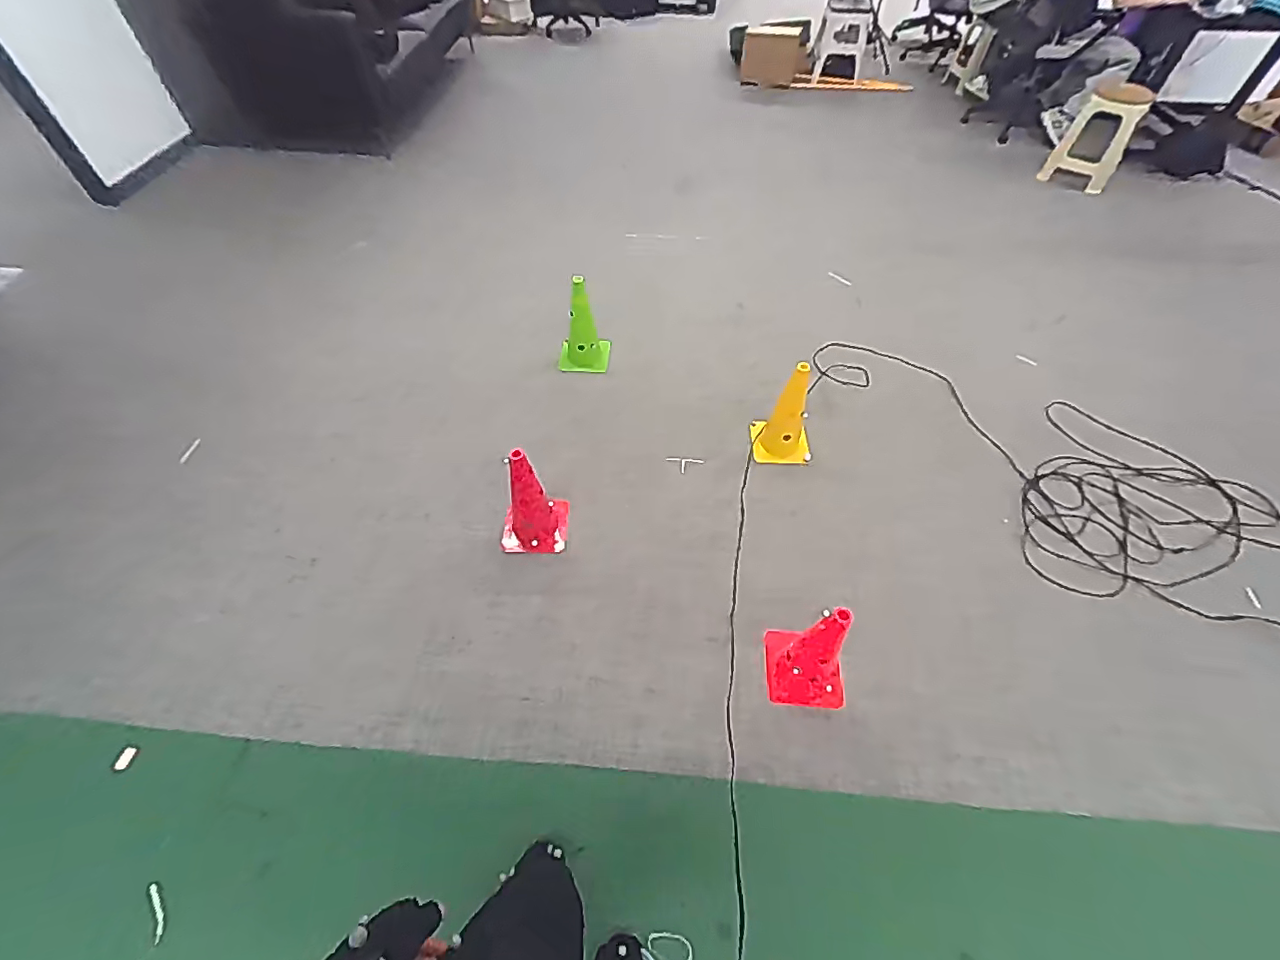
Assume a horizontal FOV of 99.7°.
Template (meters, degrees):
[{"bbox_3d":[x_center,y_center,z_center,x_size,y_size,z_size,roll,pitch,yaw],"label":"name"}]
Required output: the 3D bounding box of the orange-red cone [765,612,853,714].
[{"bbox_3d":[0.442,0.412,1.319,0.198,0.360,0.199,5,51,2],"label":"orange-red cone"}]

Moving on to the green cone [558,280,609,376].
[{"bbox_3d":[-0.228,-0.606,2.111,0.202,0.368,0.200,3,52,1],"label":"green cone"}]

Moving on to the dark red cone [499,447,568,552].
[{"bbox_3d":[-0.329,0.041,1.573,0.202,0.394,0.201,0,53,-1],"label":"dark red cone"}]
